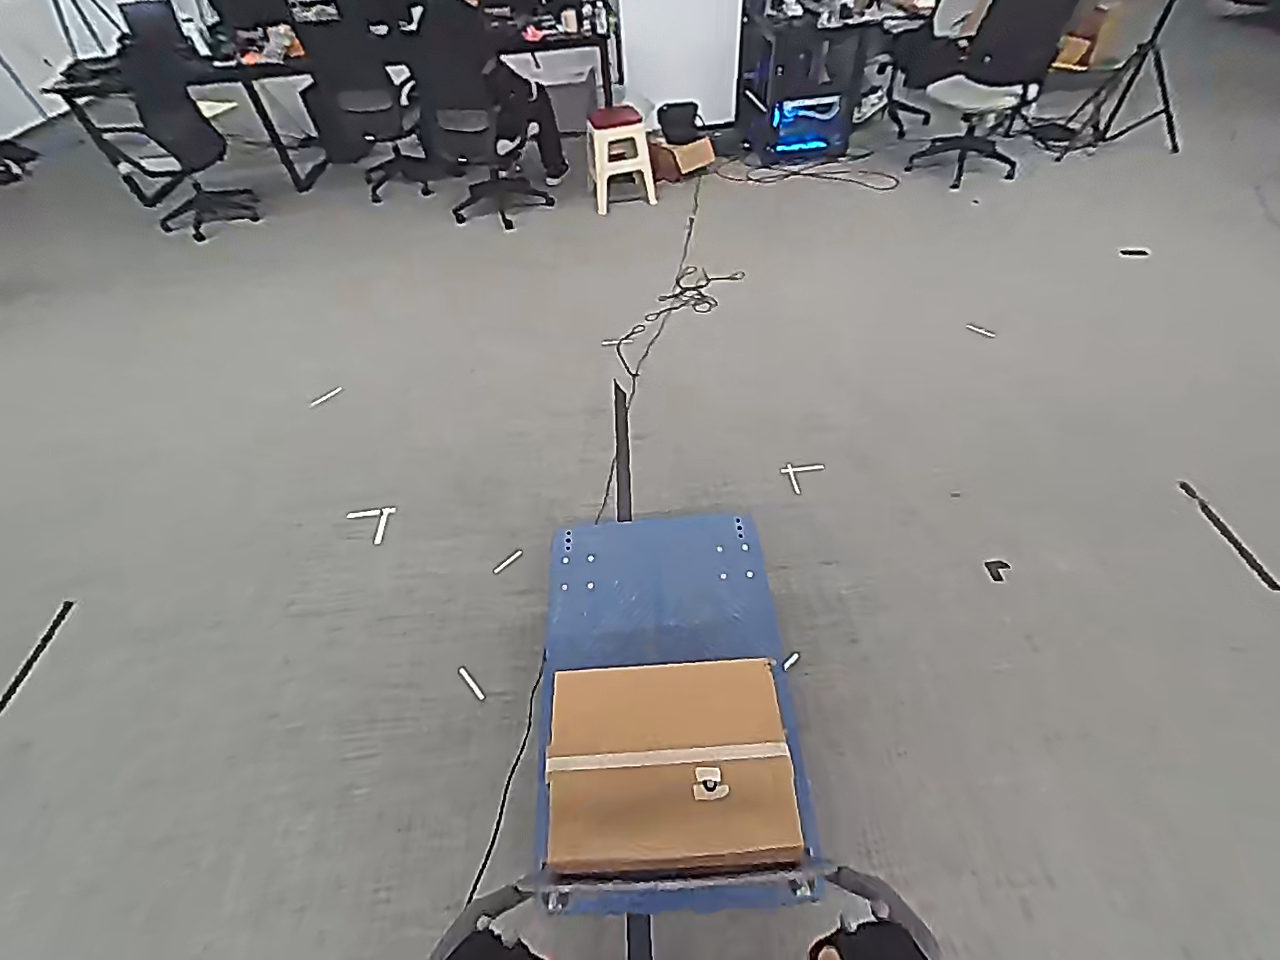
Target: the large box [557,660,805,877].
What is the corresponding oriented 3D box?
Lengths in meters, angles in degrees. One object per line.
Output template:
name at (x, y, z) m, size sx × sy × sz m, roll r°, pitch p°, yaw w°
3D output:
large box at (0.061, 0.570, 1.058) m, size 0.408 × 0.320 × 0.320 m, roll -4°, pitch 55°, yaw 0°
